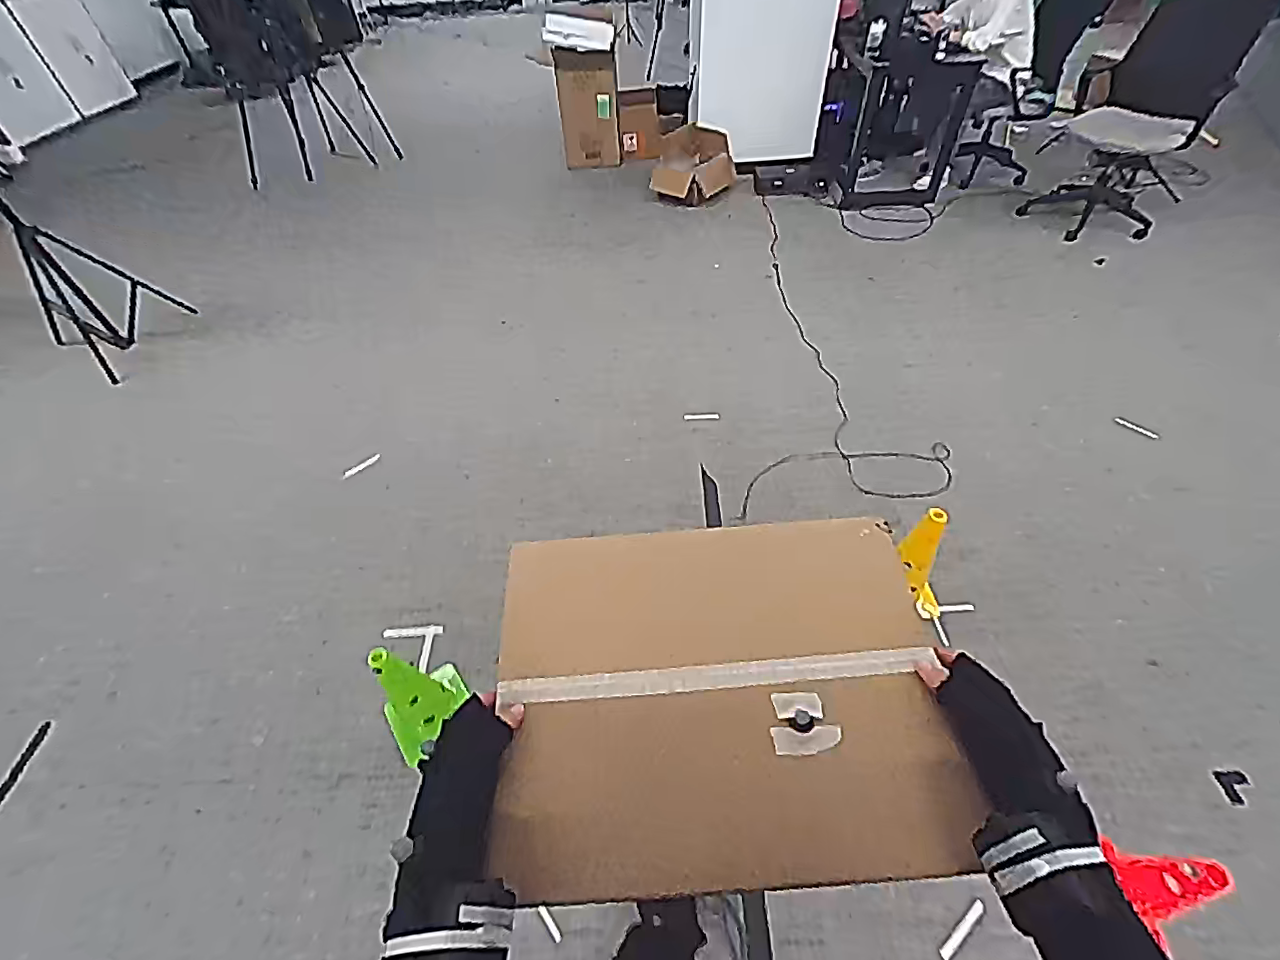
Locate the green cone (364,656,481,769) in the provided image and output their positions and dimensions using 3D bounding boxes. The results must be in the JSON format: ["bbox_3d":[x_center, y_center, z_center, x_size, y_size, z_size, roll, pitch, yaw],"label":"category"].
[{"bbox_3d":[-0.558,0.508,1.300,0.202,0.368,0.200,-33,53,-21],"label":"green cone"}]

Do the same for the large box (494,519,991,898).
[{"bbox_3d":[0.076,0.270,0.629,0.408,0.320,0.320,-4,54,0],"label":"large box"}]

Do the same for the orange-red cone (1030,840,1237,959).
[{"bbox_3d":[0.929,0.743,0.985,0.198,0.360,0.199,-4,47,-1],"label":"orange-red cone"}]
